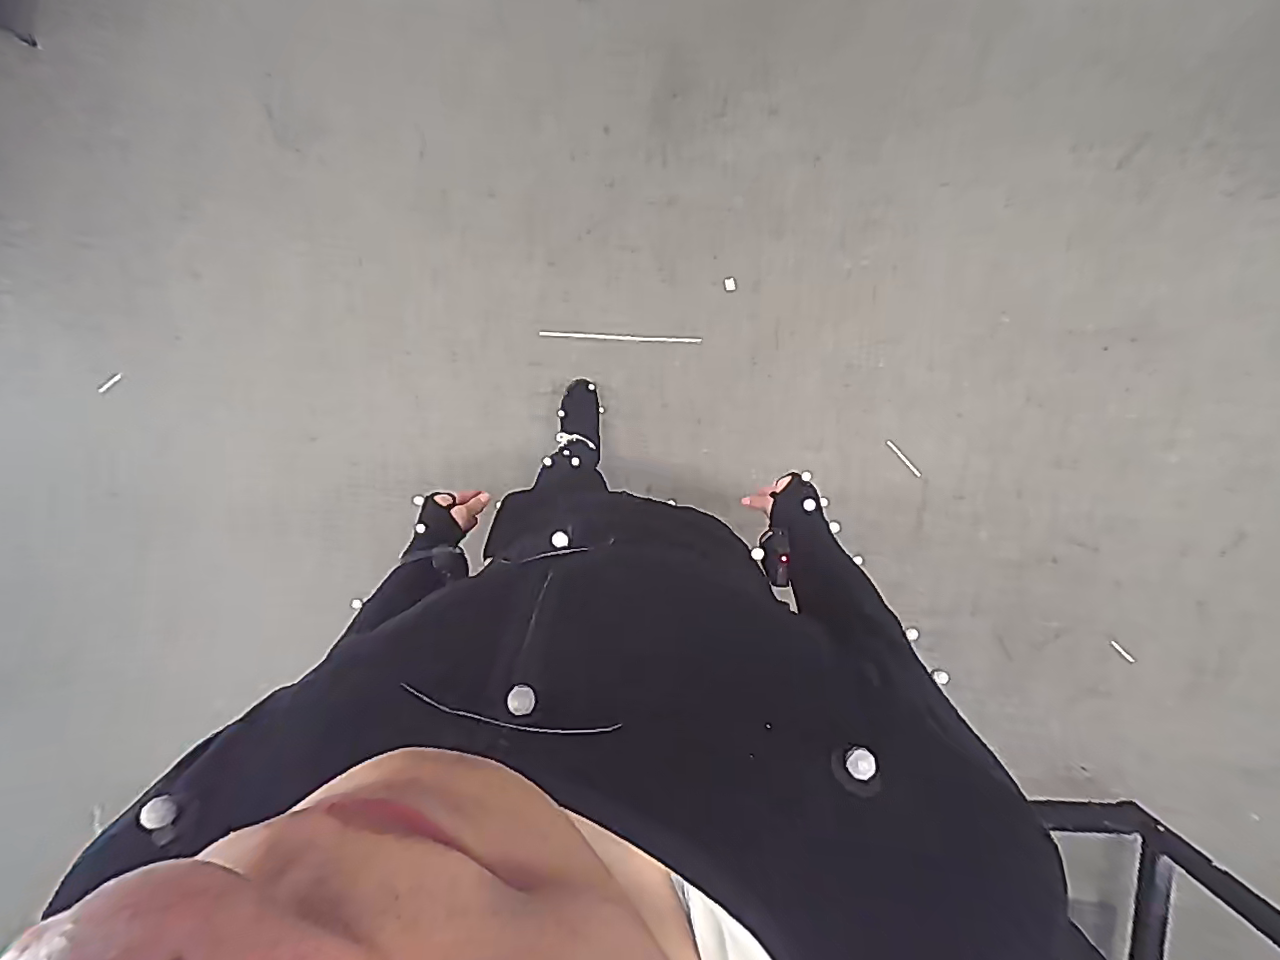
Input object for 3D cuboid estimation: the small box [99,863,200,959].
[{"bbox_3d":[-1.499,1.326,1.660,0.168,0.176,0.179,2,92,1],"label":"small box"}]
